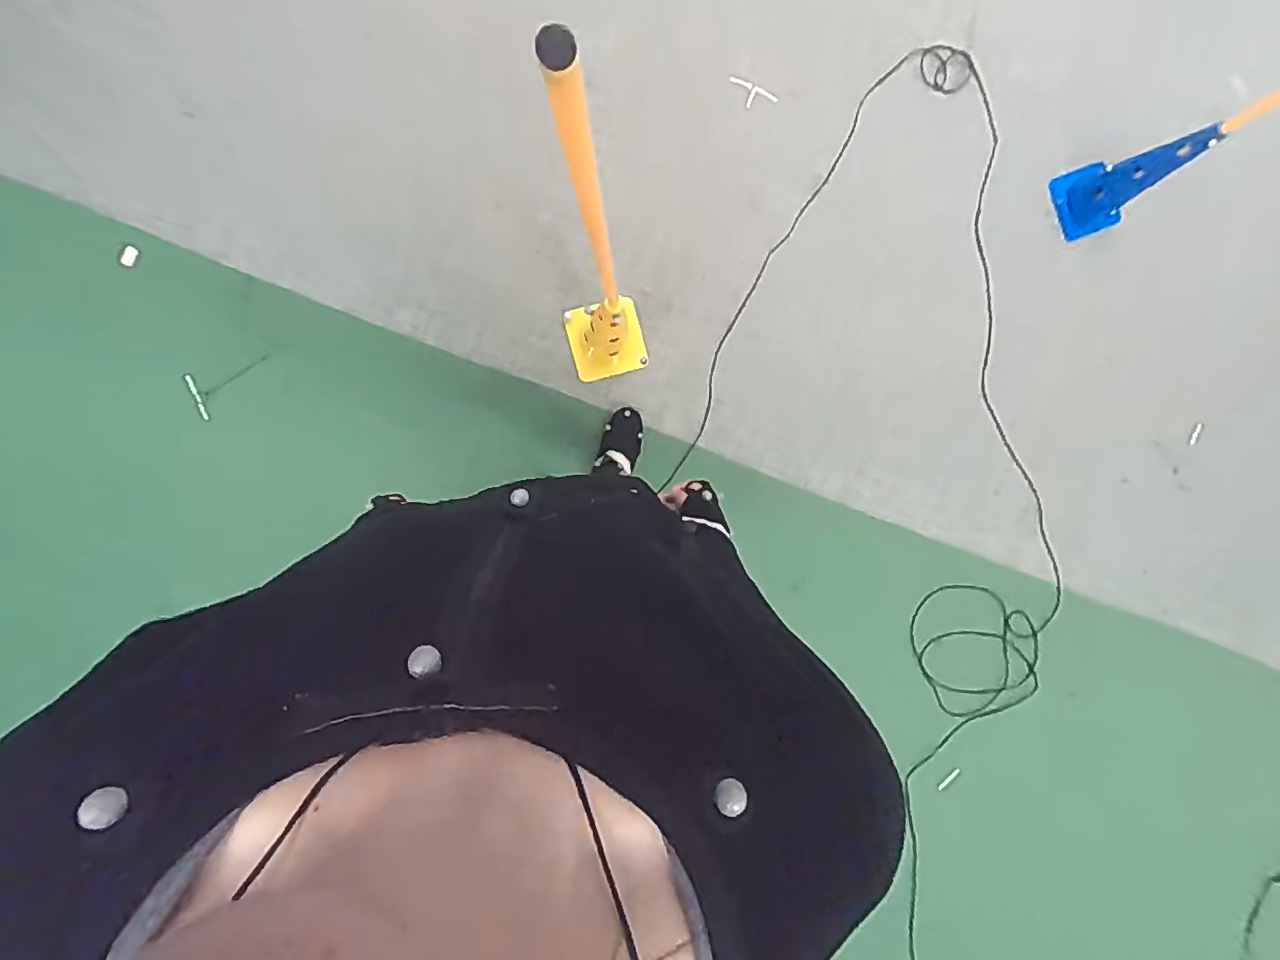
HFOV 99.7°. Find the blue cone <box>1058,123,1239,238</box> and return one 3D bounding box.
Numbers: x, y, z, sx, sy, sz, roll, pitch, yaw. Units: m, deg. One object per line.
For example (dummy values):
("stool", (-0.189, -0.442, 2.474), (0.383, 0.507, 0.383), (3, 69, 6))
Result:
("blue cone", (1.376, -0.842, 1.463), (0.193, 0.380, 0.192), (-24, 95, -7))
